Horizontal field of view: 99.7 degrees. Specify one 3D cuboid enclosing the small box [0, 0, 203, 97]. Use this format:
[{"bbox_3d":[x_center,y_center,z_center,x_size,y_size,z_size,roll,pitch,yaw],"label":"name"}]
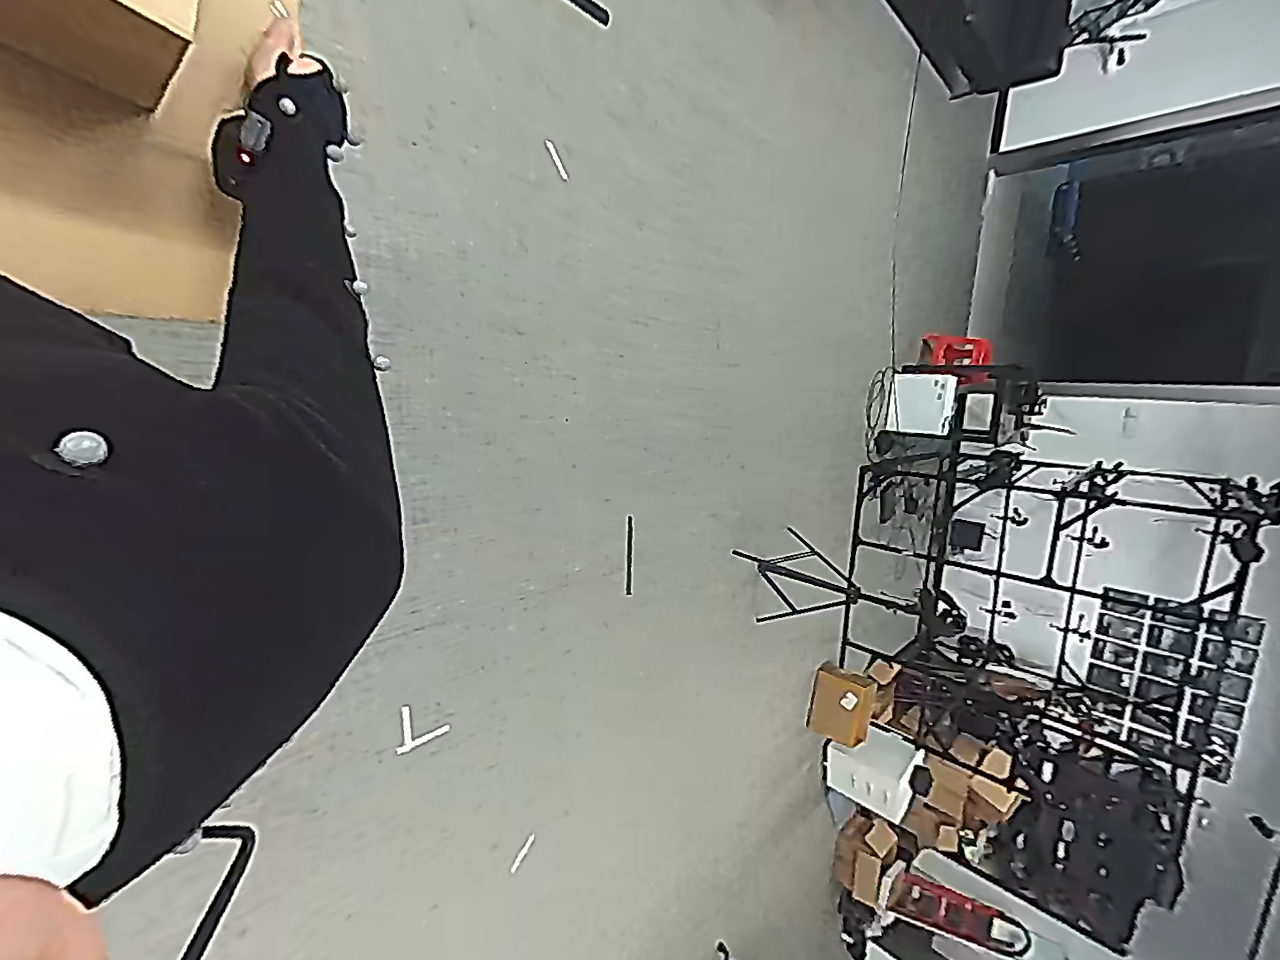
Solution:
[{"bbox_3d":[-0.416,-0.409,0.370,0.179,0.176,0.168,7,94,-49],"label":"small box"}]
